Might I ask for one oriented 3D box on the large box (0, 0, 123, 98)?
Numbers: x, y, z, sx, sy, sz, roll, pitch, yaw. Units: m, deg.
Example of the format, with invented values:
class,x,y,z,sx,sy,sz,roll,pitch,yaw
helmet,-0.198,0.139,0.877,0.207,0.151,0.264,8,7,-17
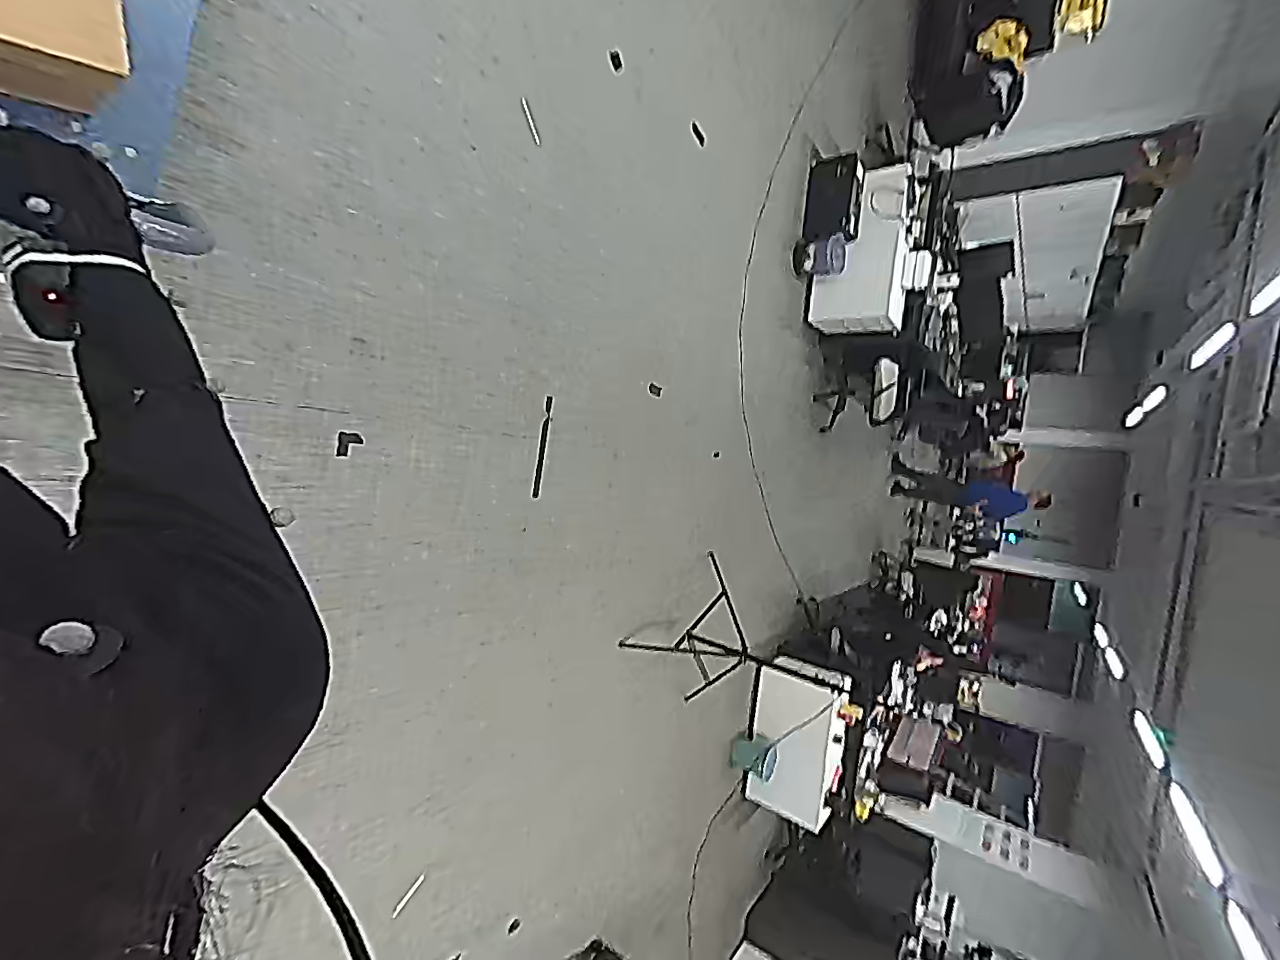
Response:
class,x,y,z,sx,sy,sz,roll,pitch,yaw
large box,-0.947,-0.726,0.644,0.408,0.320,0.320,-15,115,-51
